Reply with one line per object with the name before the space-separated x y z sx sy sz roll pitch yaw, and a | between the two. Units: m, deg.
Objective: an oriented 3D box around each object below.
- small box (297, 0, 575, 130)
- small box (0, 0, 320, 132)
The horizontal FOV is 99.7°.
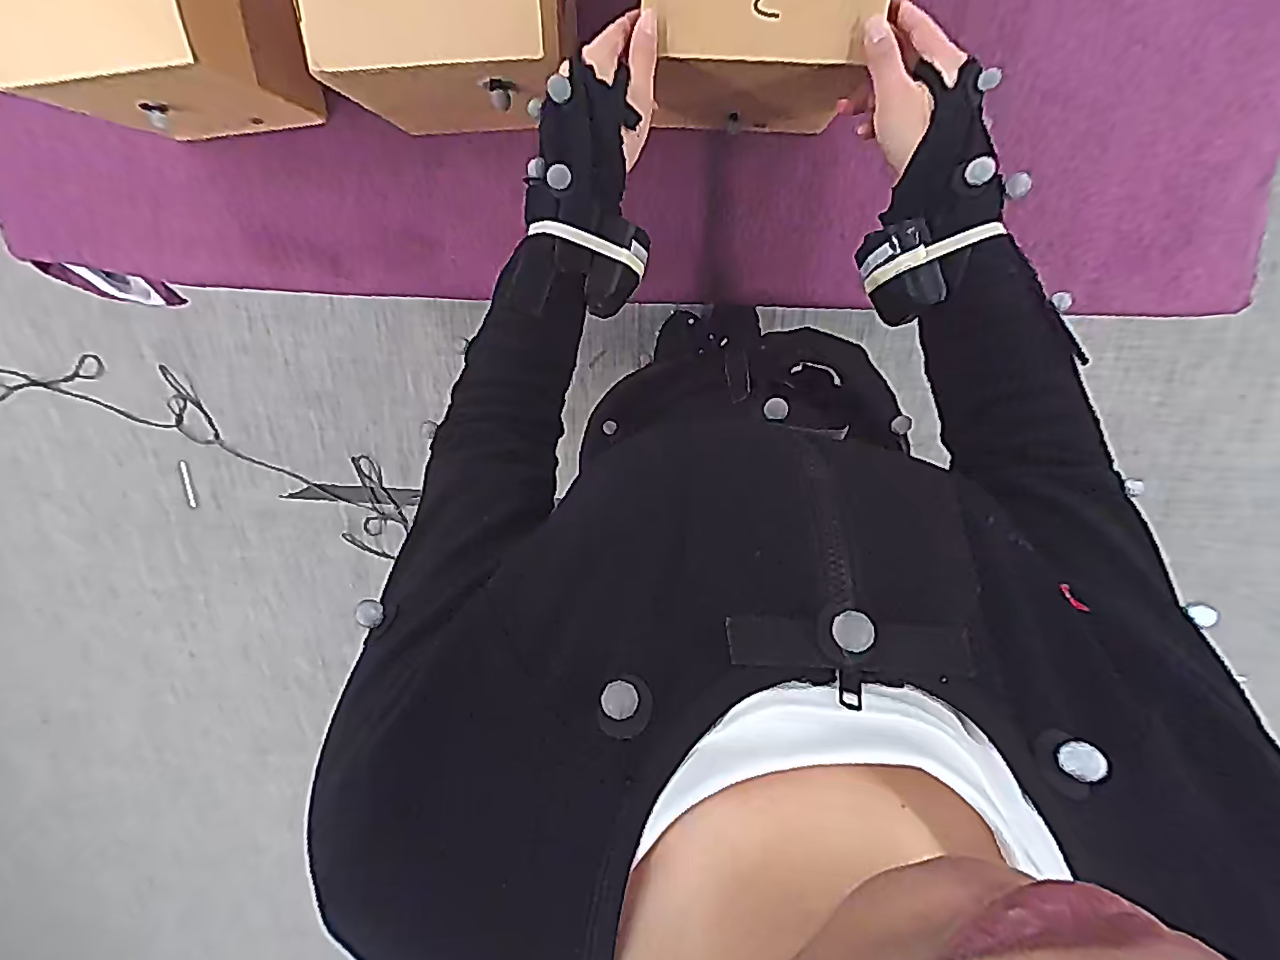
small box | -0.150 -0.399 0.432 0.179 0.176 0.168 -1 108 4
small box | -0.405 -0.410 0.448 0.168 0.176 0.179 -4 109 5
